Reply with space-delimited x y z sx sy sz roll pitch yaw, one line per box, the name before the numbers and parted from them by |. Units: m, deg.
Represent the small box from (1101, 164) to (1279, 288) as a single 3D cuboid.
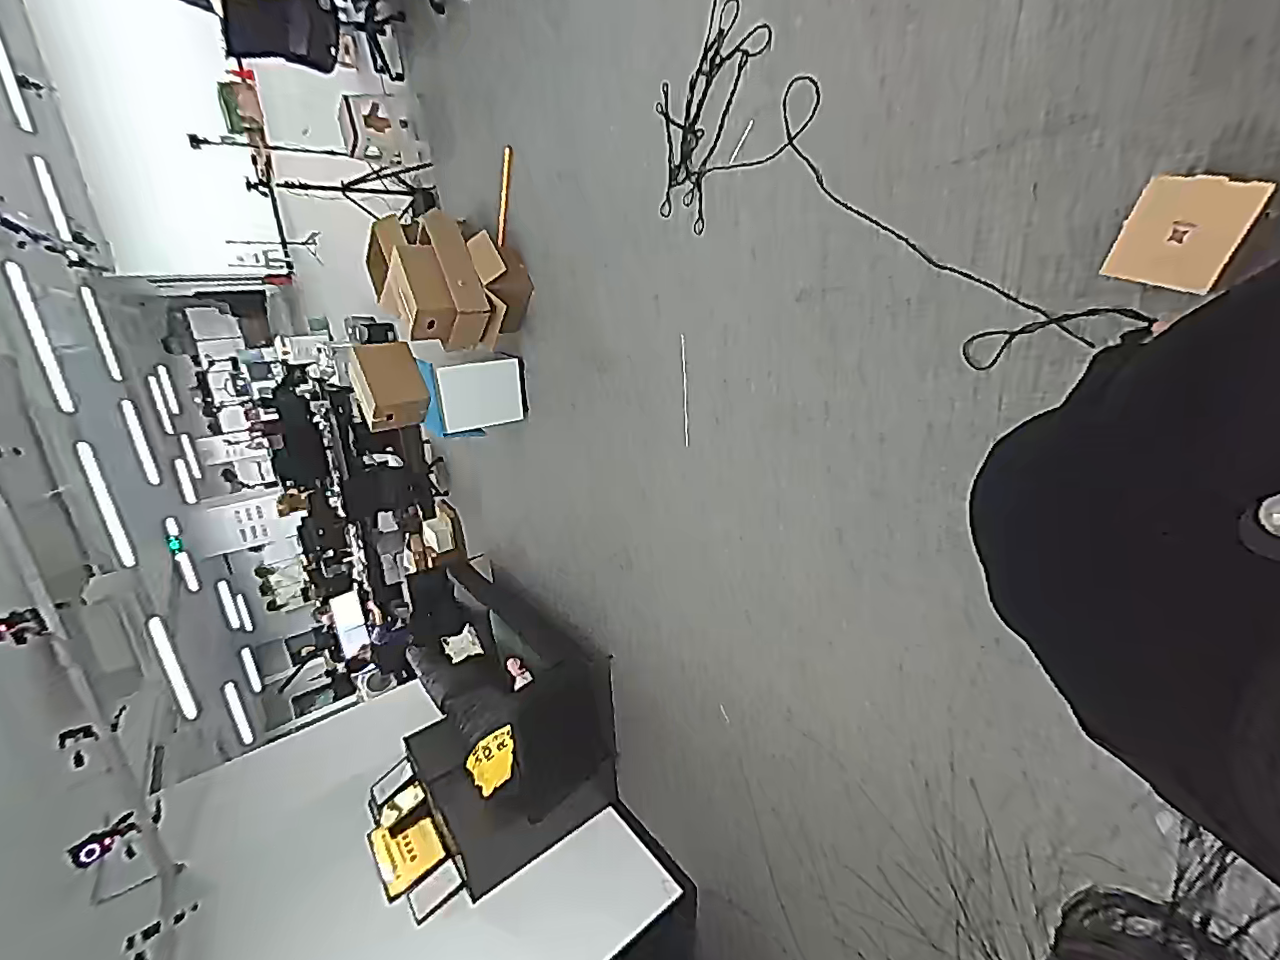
small box | 1.006 -0.464 0.988 0.168 0.176 0.179 39 134 40
